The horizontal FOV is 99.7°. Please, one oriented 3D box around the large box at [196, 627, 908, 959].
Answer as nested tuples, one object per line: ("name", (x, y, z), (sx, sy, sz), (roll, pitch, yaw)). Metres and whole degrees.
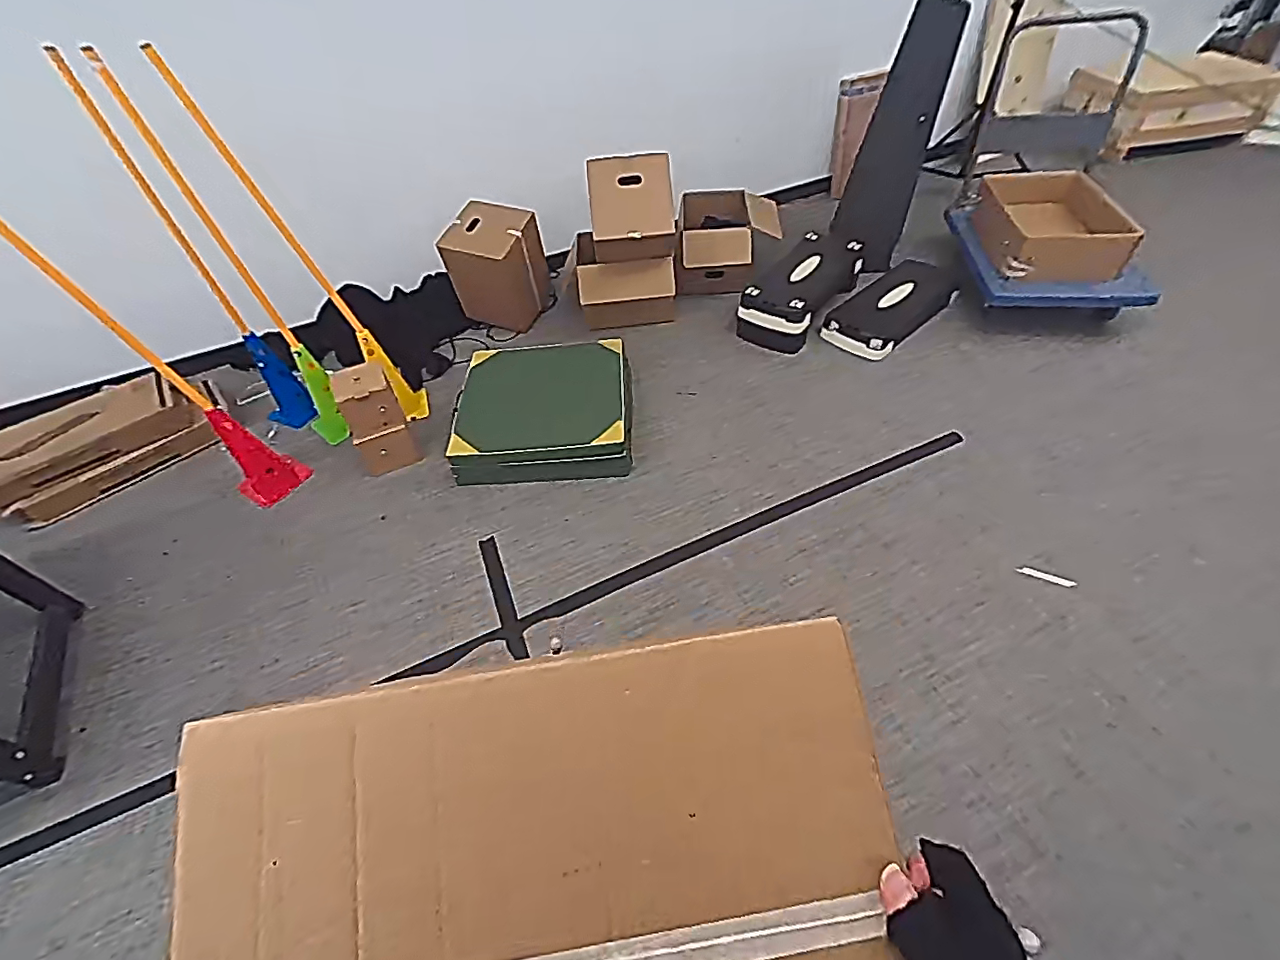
("large box", (-0.048, 0.313, 0.449), (0.408, 0.320, 0.320), (-9, 74, -3))
